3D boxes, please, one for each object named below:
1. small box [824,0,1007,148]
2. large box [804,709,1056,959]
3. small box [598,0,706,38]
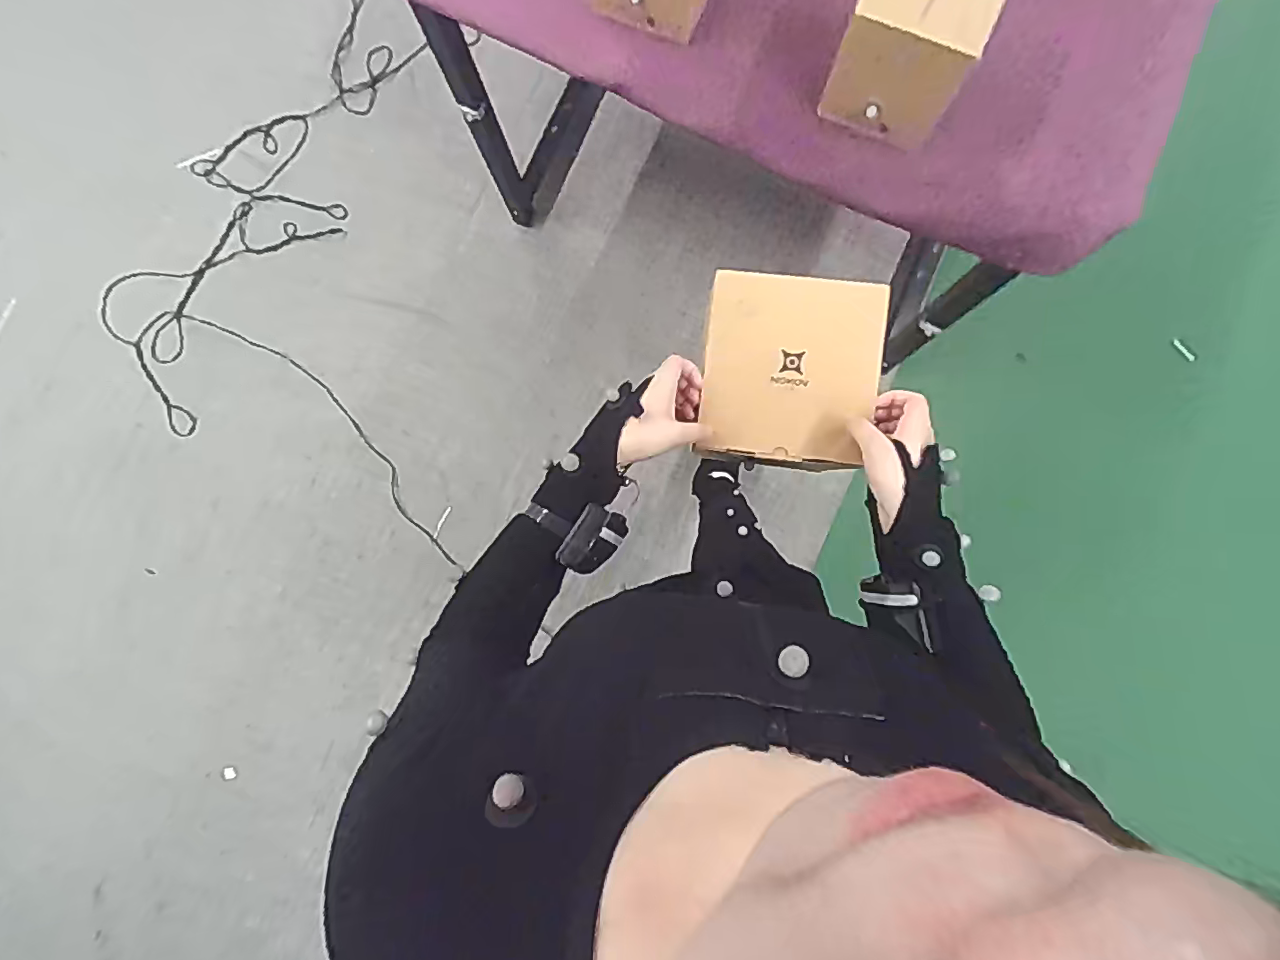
[{"bbox_3d":[0.375,-0.609,0.739,0.168,0.176,0.179,25,86,5],"label":"small box"},{"bbox_3d":[0.632,0.820,1.243,0.320,0.320,0.408,26,87,5],"label":"large box"},{"bbox_3d":[0.030,-0.800,0.773,0.168,0.176,0.179,23,84,5],"label":"small box"}]
